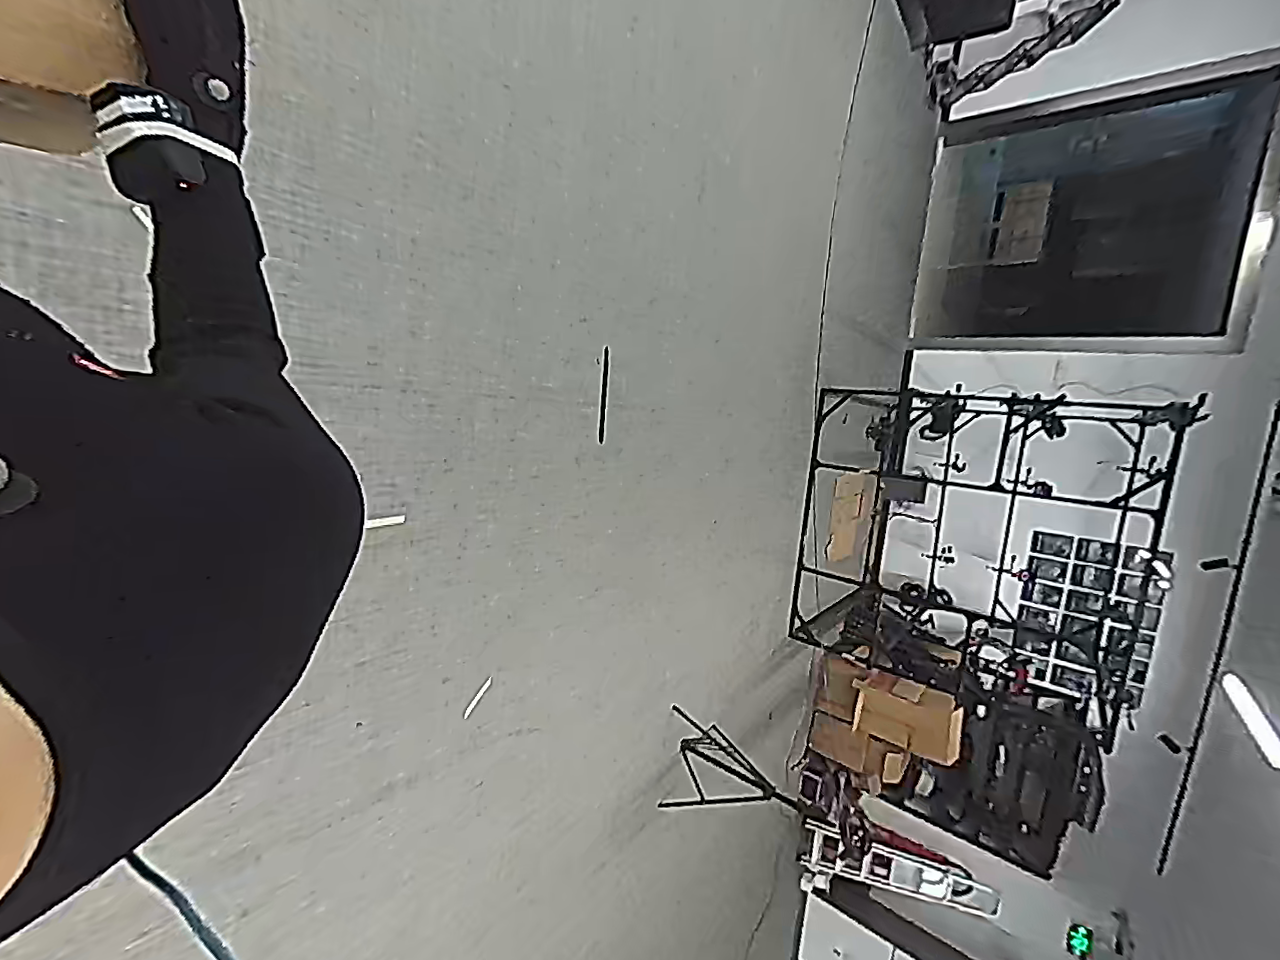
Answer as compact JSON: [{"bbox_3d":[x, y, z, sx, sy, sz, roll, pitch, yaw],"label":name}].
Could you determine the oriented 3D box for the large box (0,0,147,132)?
[{"bbox_3d":[-0.603,-0.433,0.296,0.408,0.320,0.320,-19,120,-50],"label":"large box"}]
